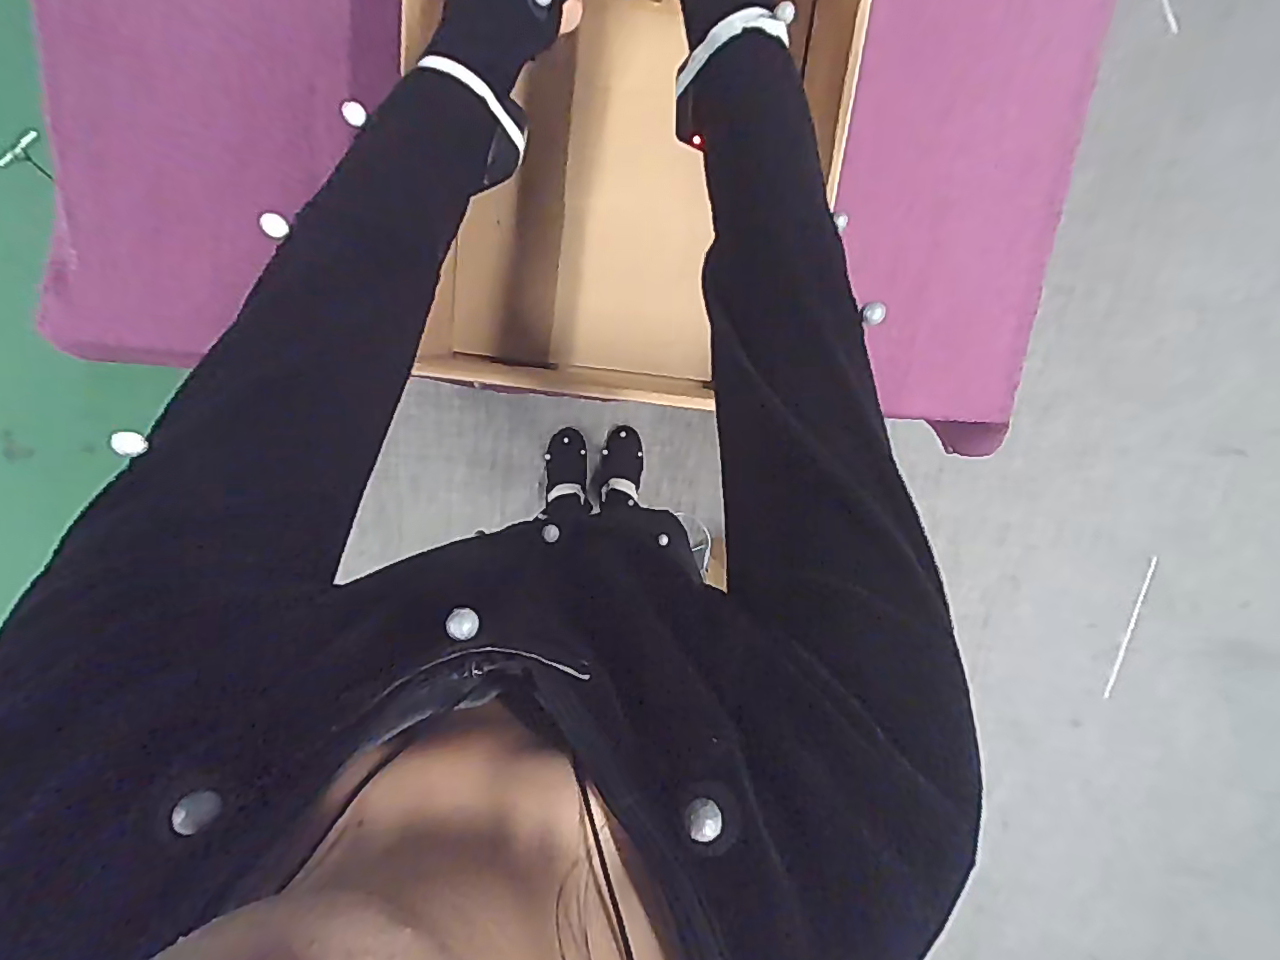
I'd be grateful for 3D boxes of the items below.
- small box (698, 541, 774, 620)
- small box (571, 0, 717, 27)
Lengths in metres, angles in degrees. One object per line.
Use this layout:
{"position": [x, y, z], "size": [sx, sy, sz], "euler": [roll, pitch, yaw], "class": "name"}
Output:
{"position": [0.258, 0.275, 1.502], "size": [0.179, 0.176, 0.168], "euler": [-1, 103, -3], "class": "small box"}
{"position": [0.008, -0.560, 0.480], "size": [0.168, 0.176, 0.179], "euler": [5, 104, -3], "class": "small box"}
